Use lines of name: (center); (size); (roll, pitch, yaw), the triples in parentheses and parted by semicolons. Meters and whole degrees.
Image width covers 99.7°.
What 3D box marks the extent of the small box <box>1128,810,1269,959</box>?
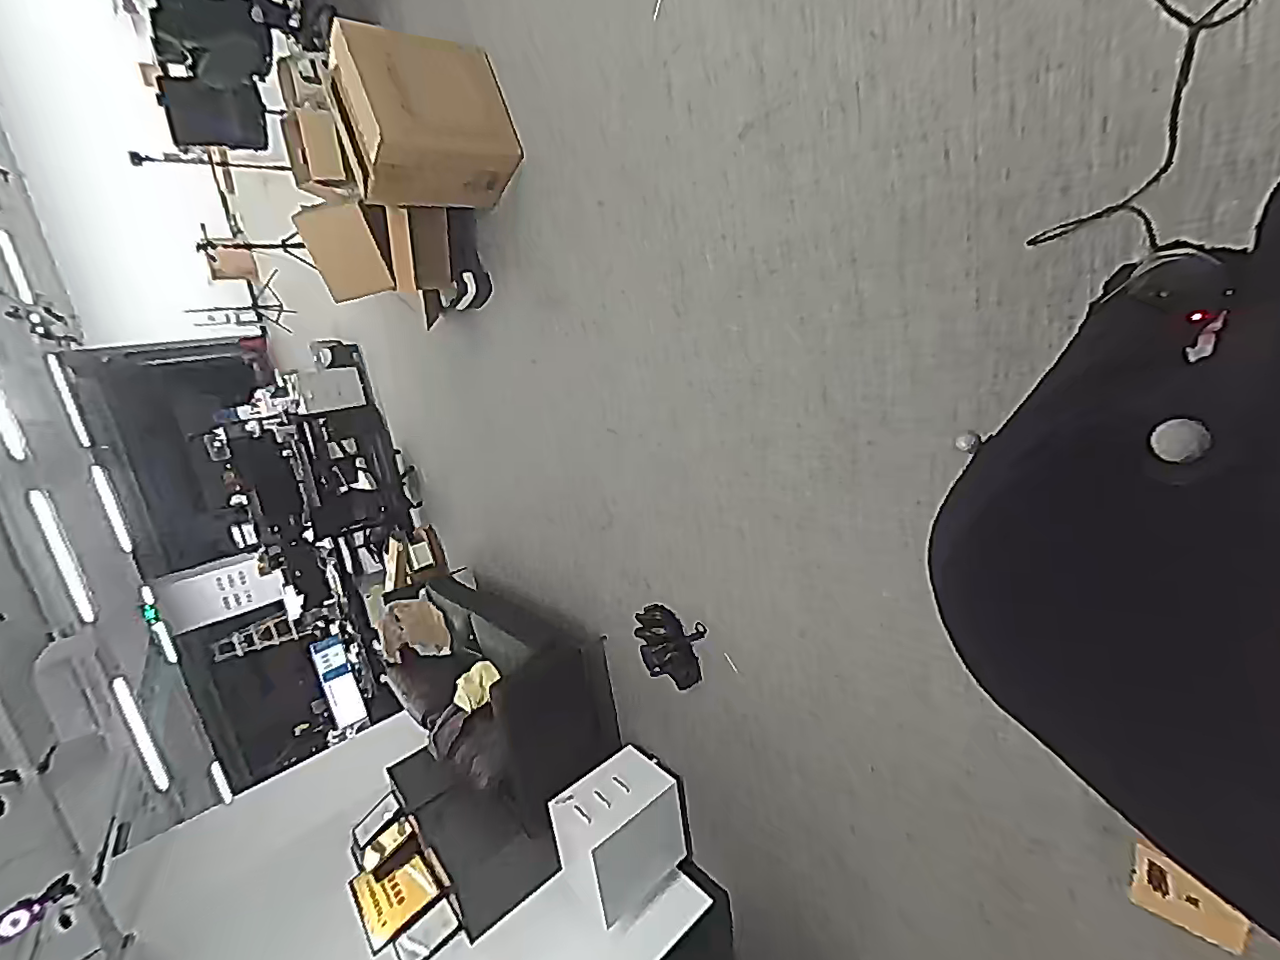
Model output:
small box: (1.203, 0.860, 1.168); (0.179, 0.176, 0.168); (16, 119, 49)
